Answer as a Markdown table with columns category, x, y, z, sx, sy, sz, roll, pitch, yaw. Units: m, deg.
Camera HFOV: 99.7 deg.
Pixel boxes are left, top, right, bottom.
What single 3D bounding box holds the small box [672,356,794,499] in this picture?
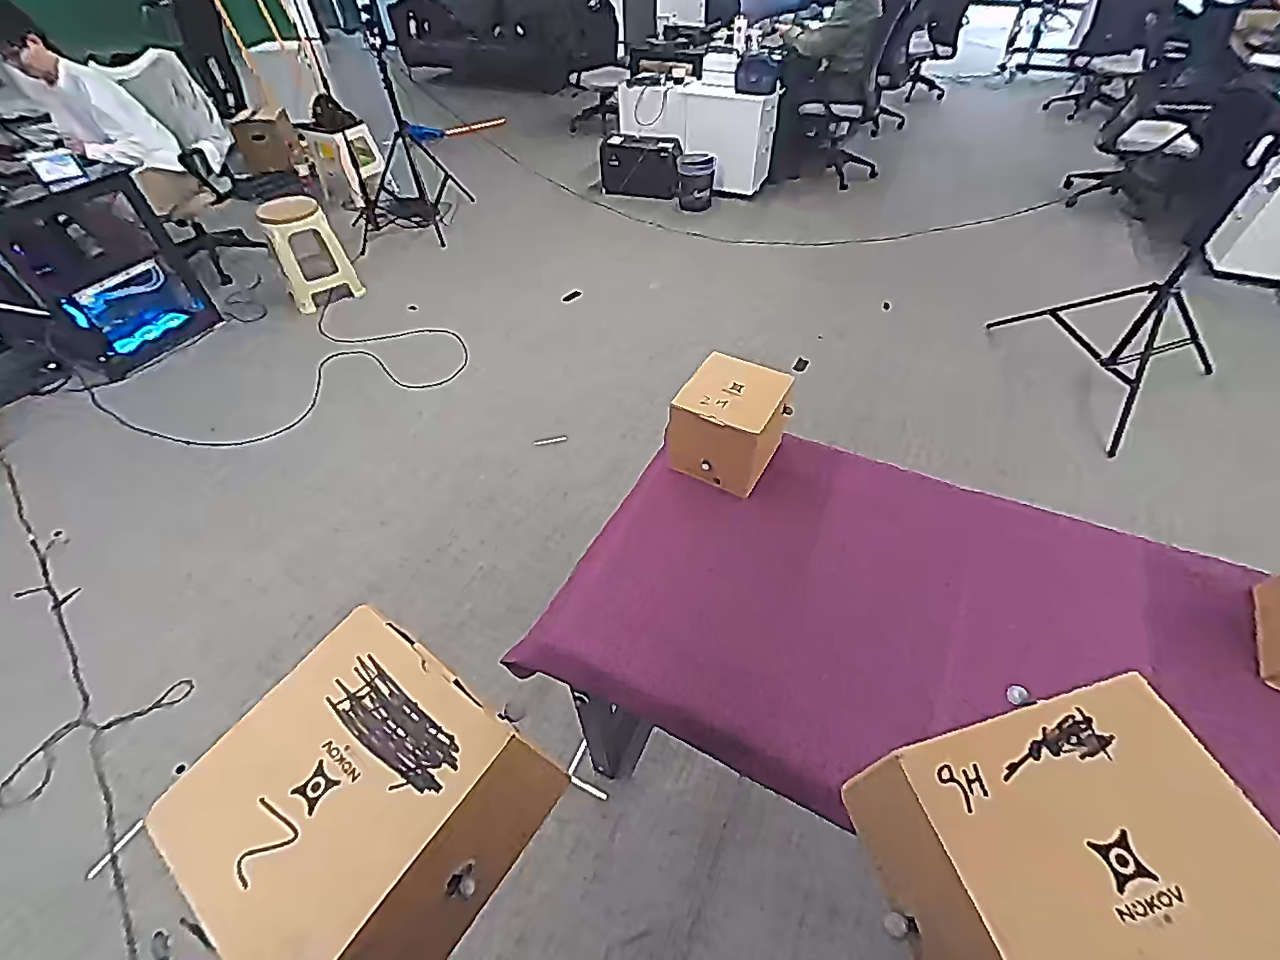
| category | x | y | z | sx | sy | sz | roll | pitch | yaw |
| --- | --- | --- | --- | --- | --- | --- | --- | --- | --- |
| small box | 0.167 | -0.099 | 1.016 | 0.168 | 0.176 | 0.179 | 23 | 54 | 21 |

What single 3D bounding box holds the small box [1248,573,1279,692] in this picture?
| category | x | y | z | sx | sy | sz | roll | pitch | yaw |
| --- | --- | --- | --- | --- | --- | --- | --- | --- | --- |
| small box | 0.978 | 0.208 | 0.721 | 0.168 | 0.176 | 0.179 | 23 | 56 | 21 |

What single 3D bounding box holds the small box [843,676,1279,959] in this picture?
| category | x | y | z | sx | sy | sz | roll | pitch | yaw |
| --- | --- | --- | --- | --- | --- | --- | --- | --- | --- |
| small box | 0.258 | 0.255 | 0.347 | 0.168 | 0.176 | 0.179 | -15 | 54 | -6 |
